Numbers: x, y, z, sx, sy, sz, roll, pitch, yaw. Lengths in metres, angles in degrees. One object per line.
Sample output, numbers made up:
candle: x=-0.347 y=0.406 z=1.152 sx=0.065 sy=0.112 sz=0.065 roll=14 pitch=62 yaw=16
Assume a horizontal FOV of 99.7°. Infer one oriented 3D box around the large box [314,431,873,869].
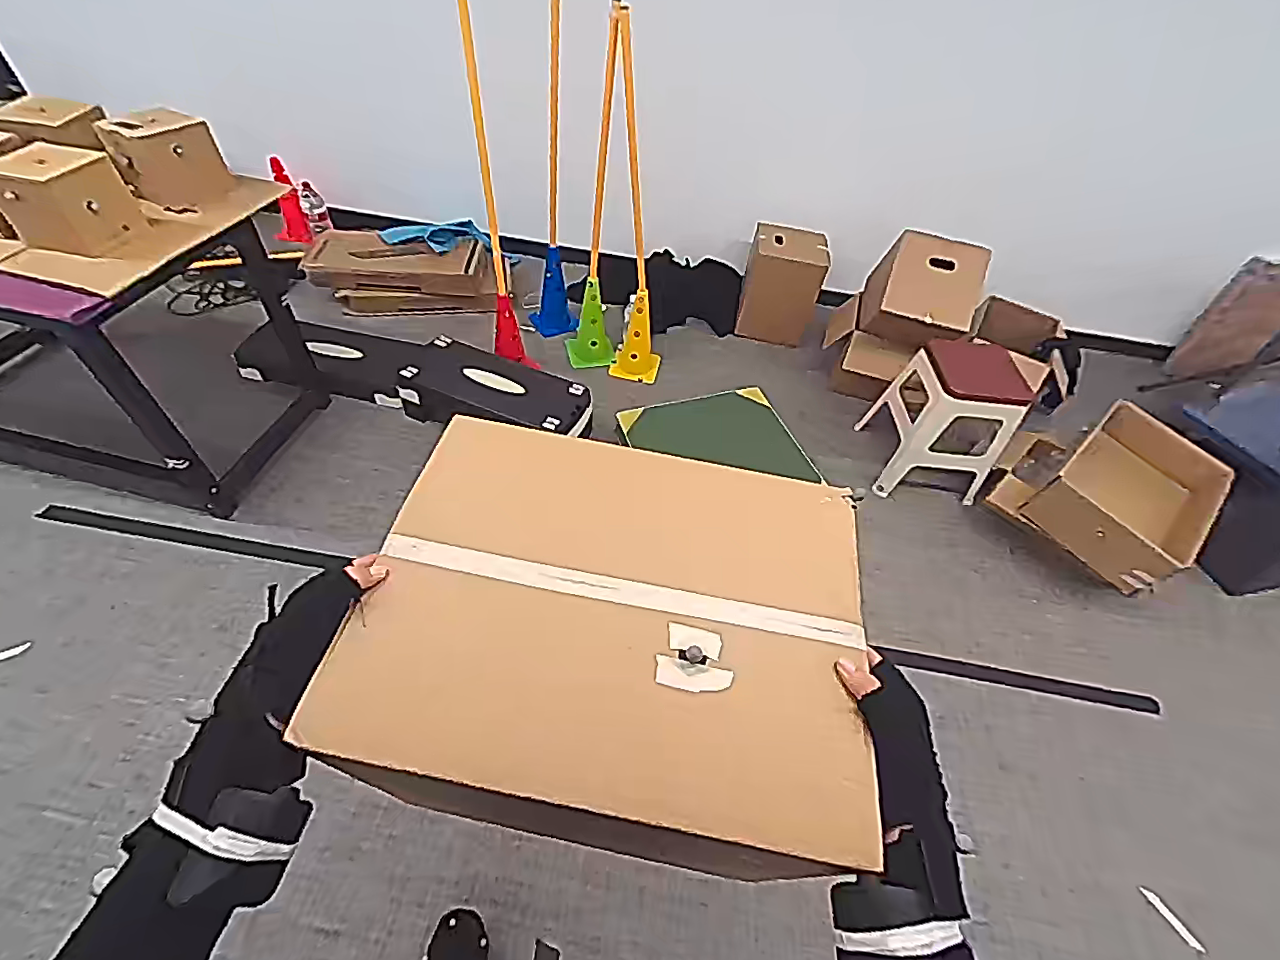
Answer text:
large box: x=-0.027 y=0.190 z=0.579 sx=0.408 sy=0.320 sz=0.320 roll=11 pitch=53 yaw=2
